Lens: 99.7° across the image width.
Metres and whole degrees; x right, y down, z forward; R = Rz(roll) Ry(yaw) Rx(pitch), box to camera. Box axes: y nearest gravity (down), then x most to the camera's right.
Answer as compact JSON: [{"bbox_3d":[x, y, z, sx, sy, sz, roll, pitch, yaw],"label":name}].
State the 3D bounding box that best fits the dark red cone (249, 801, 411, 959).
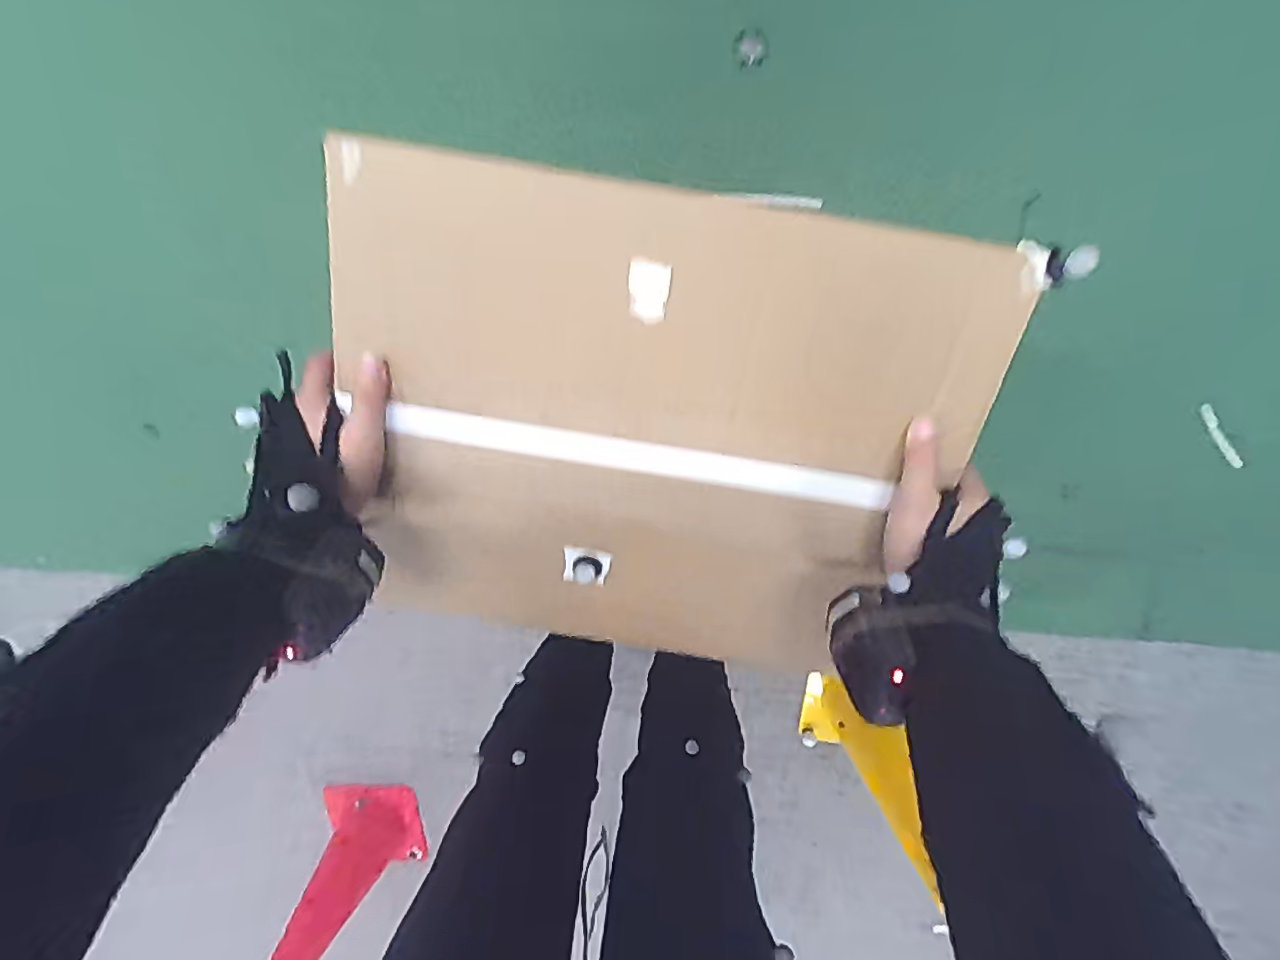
[{"bbox_3d":[-0.583,0.770,0.934,0.202,0.394,0.201,-4,102,7],"label":"dark red cone"}]
